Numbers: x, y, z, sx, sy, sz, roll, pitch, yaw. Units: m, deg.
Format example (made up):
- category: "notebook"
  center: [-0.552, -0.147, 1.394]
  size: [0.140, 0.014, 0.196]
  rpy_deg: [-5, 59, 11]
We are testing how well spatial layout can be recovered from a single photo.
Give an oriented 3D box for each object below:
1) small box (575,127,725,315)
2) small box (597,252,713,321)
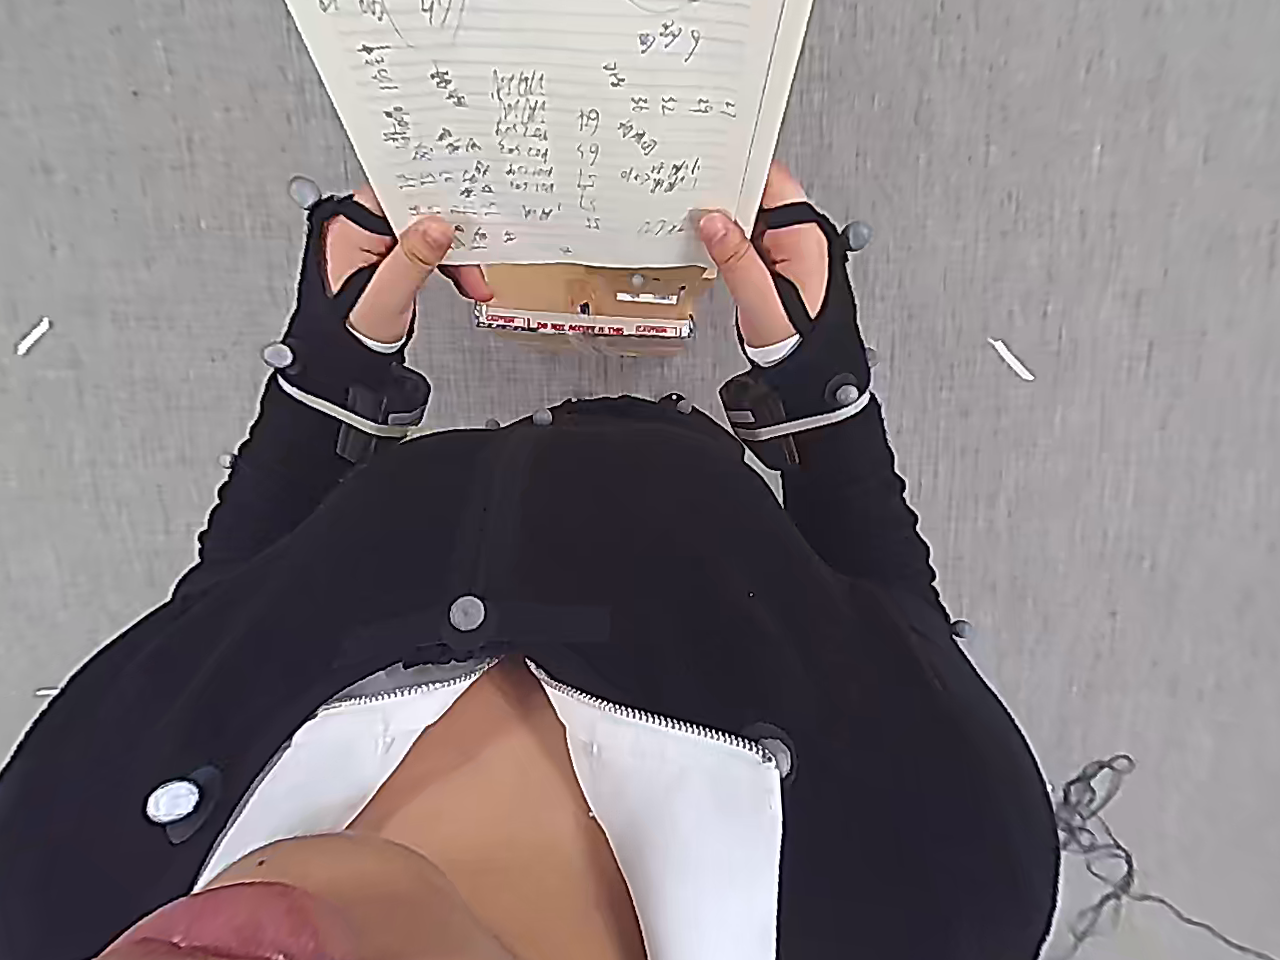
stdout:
- category: "small box"
  center: [0.006, -0.327, 0.718]
  size: [0.168, 0.176, 0.179]
  rpy_deg: [5, 100, -3]
- category: "small box"
  center: [0.019, -0.355, 0.880]
  size: [0.179, 0.176, 0.168]
  rpy_deg: [1, 99, -2]
